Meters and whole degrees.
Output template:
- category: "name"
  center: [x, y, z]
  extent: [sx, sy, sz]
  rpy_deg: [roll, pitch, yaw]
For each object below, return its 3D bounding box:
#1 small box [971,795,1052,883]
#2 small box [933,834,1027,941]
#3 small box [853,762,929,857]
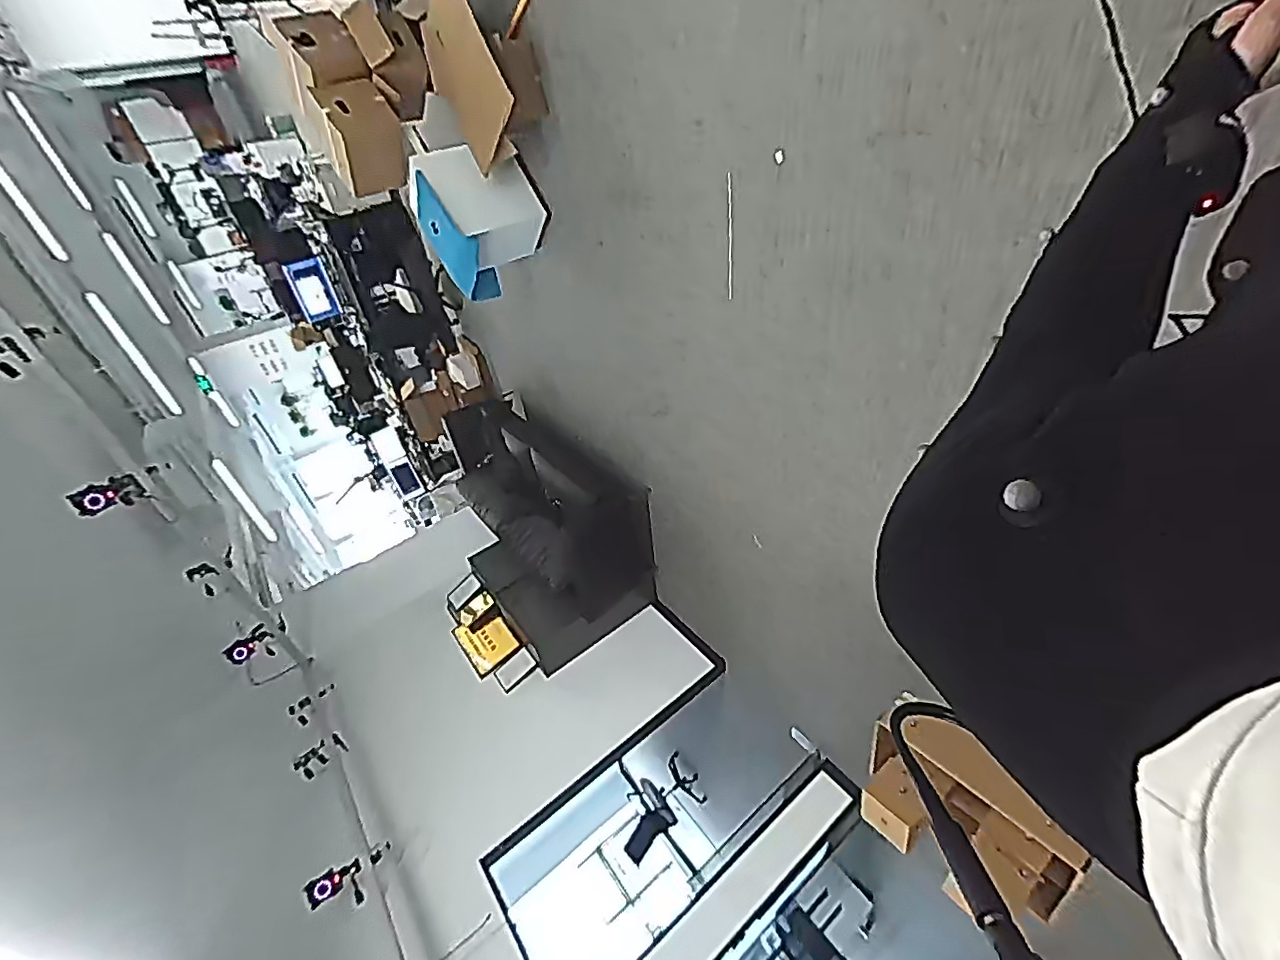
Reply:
- category: "small box"
  center: [1.138, 1.128, 1.675]
  extent: [0.168, 0.176, 0.179]
  rpy_deg: [30, 142, 45]
- category: "small box"
  center: [1.009, 1.201, 1.605]
  extent: [0.168, 0.176, 0.179]
  rpy_deg: [34, 145, 42]
- category: "small box"
  center: [0.834, 1.087, 1.796]
  extent: [0.168, 0.176, 0.179]
  rpy_deg: [29, 139, 48]
